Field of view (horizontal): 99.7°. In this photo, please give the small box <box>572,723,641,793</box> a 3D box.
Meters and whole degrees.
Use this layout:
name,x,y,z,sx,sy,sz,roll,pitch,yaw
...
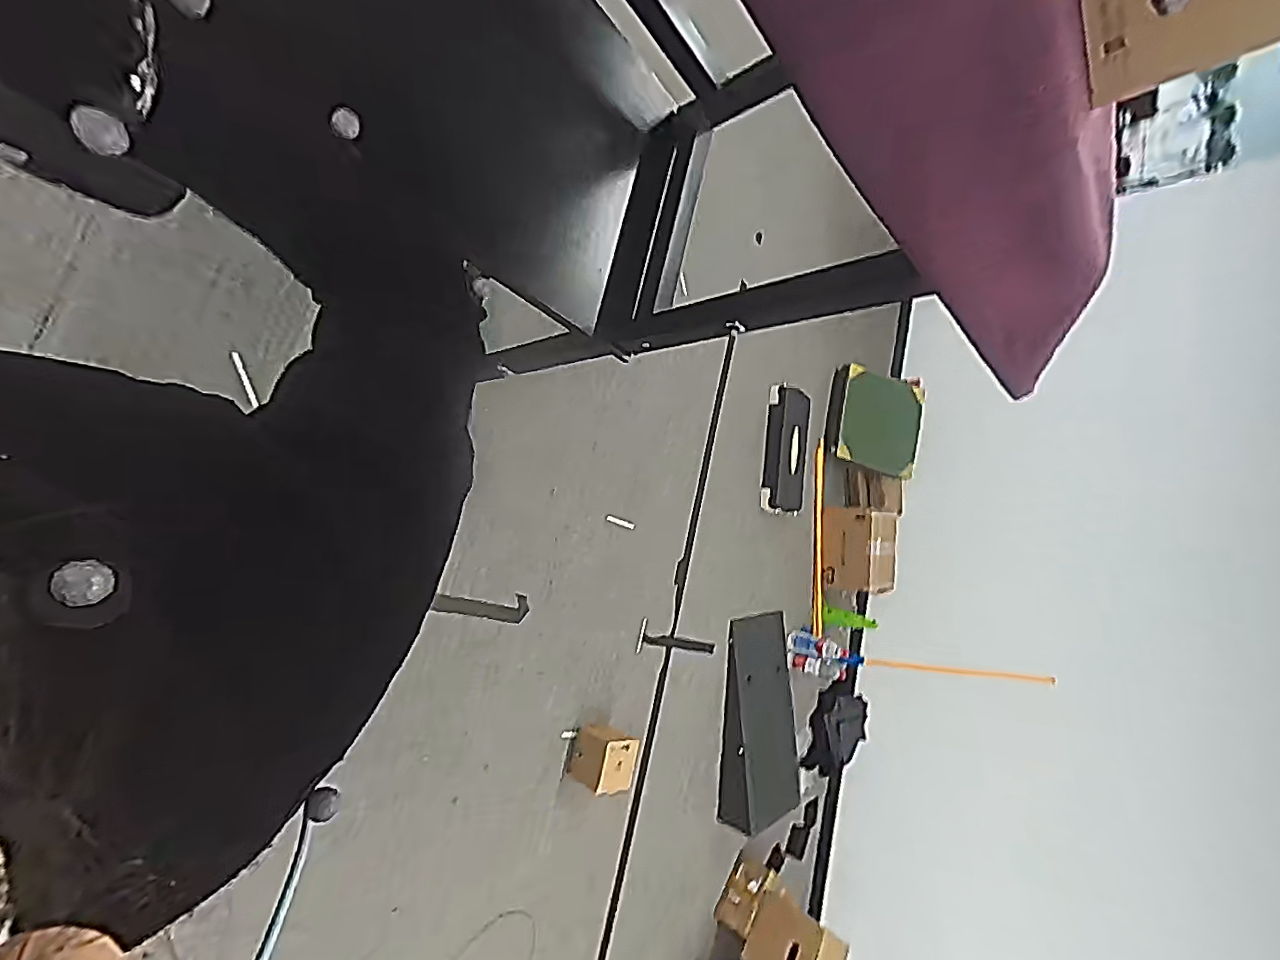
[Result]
name,x,y,z,sx,sy,sz,roll,pitch,yaw
small box,-0.126,1.012,1.982,0.168,0.176,0.179,23,76,-44

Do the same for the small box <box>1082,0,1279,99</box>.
name,x,y,z,sx,sy,sz,roll,pitch,yaw
small box,0.472,-0.471,0.439,0.168,0.176,0.179,29,71,-42
